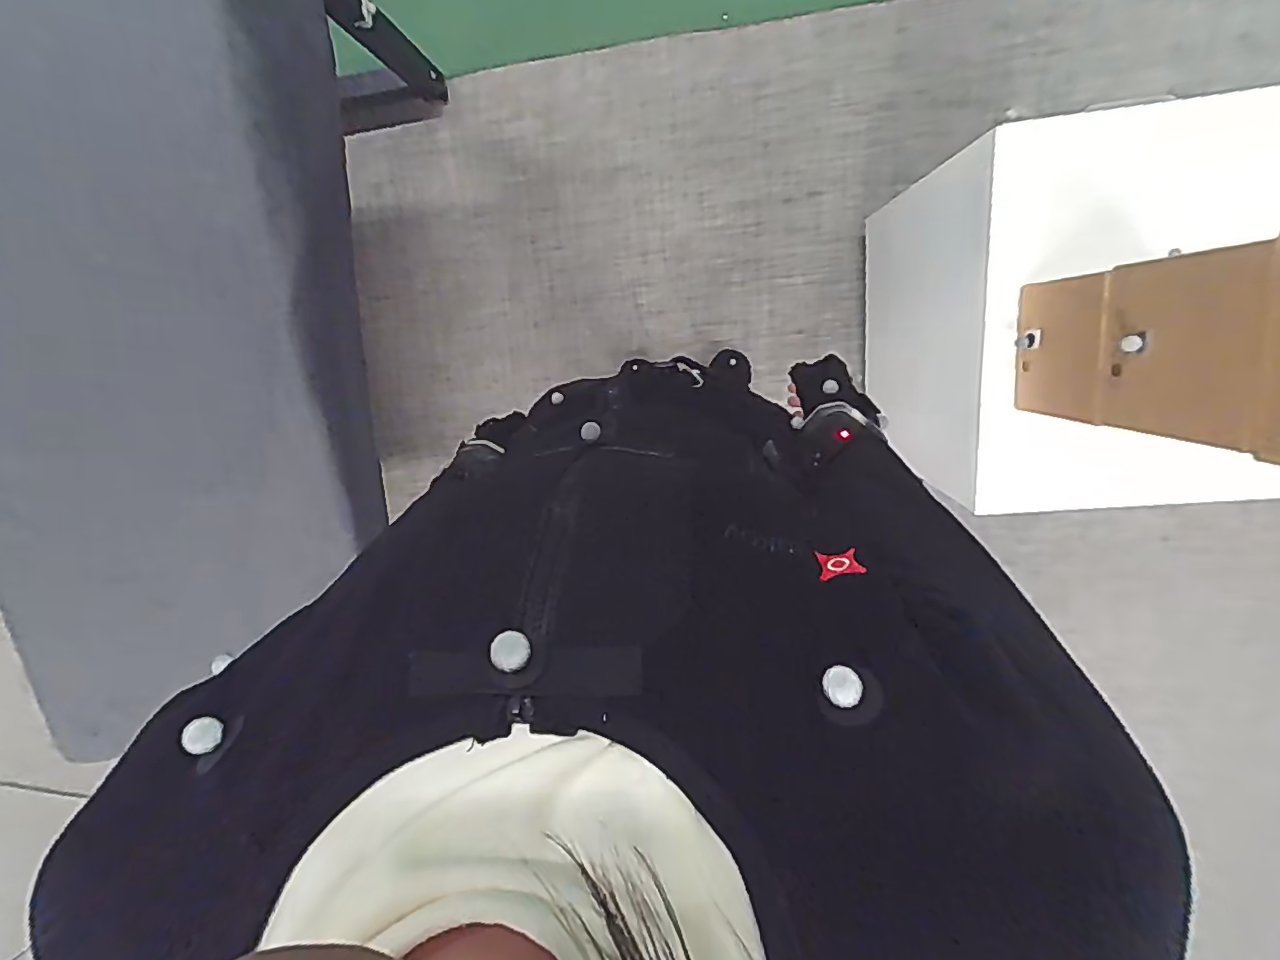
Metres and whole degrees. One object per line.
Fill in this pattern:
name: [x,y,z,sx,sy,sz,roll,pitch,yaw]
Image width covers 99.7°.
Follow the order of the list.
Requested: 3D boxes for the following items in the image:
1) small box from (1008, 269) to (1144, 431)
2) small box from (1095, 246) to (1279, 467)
small box: [0.573,-0.157,0.633,0.179,0.176,0.168,-5,103,9]
small box: [0.558,-0.118,0.475,0.179,0.176,0.168,-8,103,7]
